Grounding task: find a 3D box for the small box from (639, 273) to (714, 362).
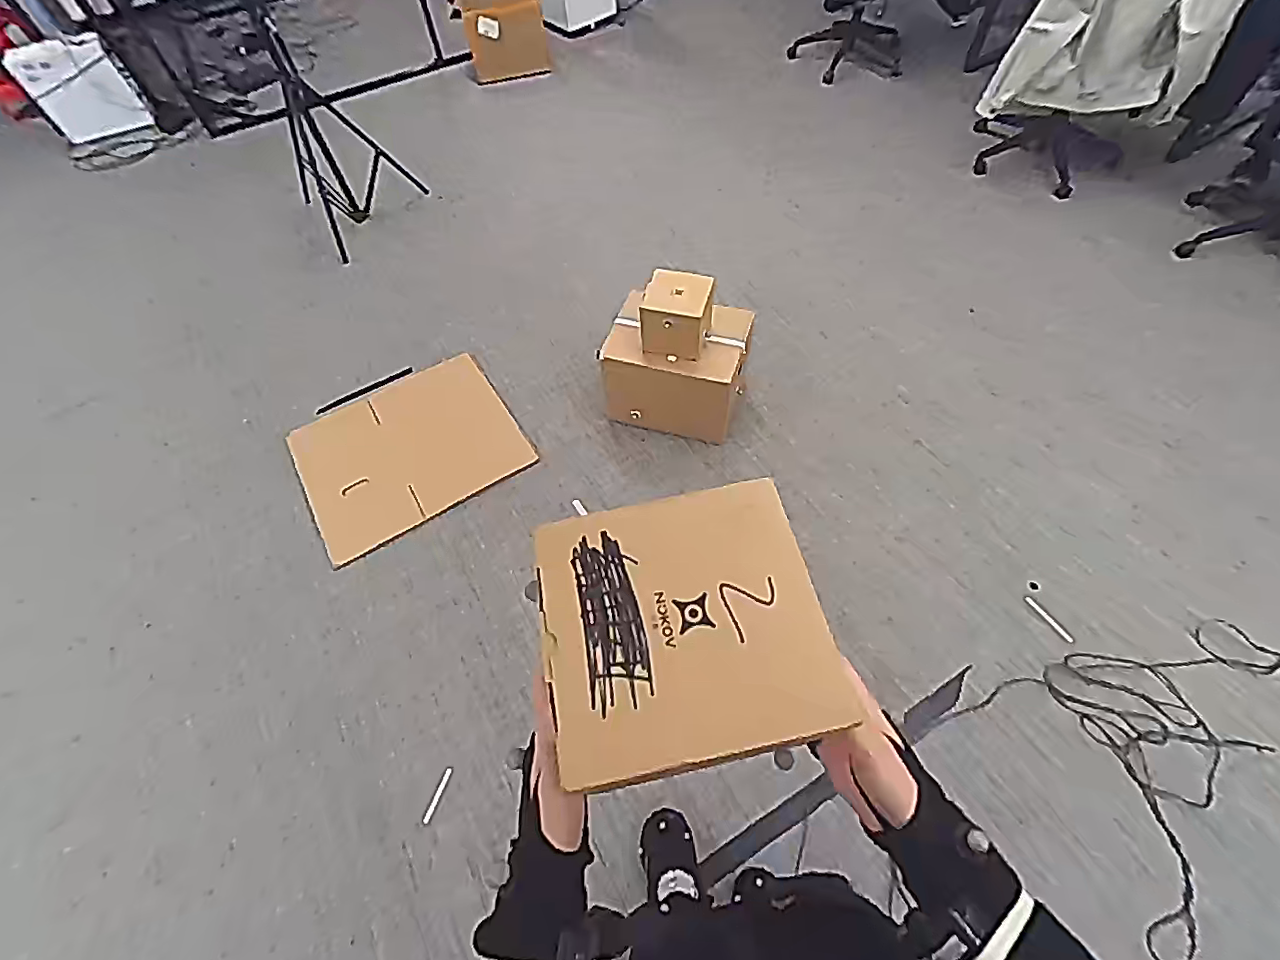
[{"bbox_3d":[0.106,-0.463,1.555,0.179,0.176,0.168,13,61,10],"label":"small box"}]
